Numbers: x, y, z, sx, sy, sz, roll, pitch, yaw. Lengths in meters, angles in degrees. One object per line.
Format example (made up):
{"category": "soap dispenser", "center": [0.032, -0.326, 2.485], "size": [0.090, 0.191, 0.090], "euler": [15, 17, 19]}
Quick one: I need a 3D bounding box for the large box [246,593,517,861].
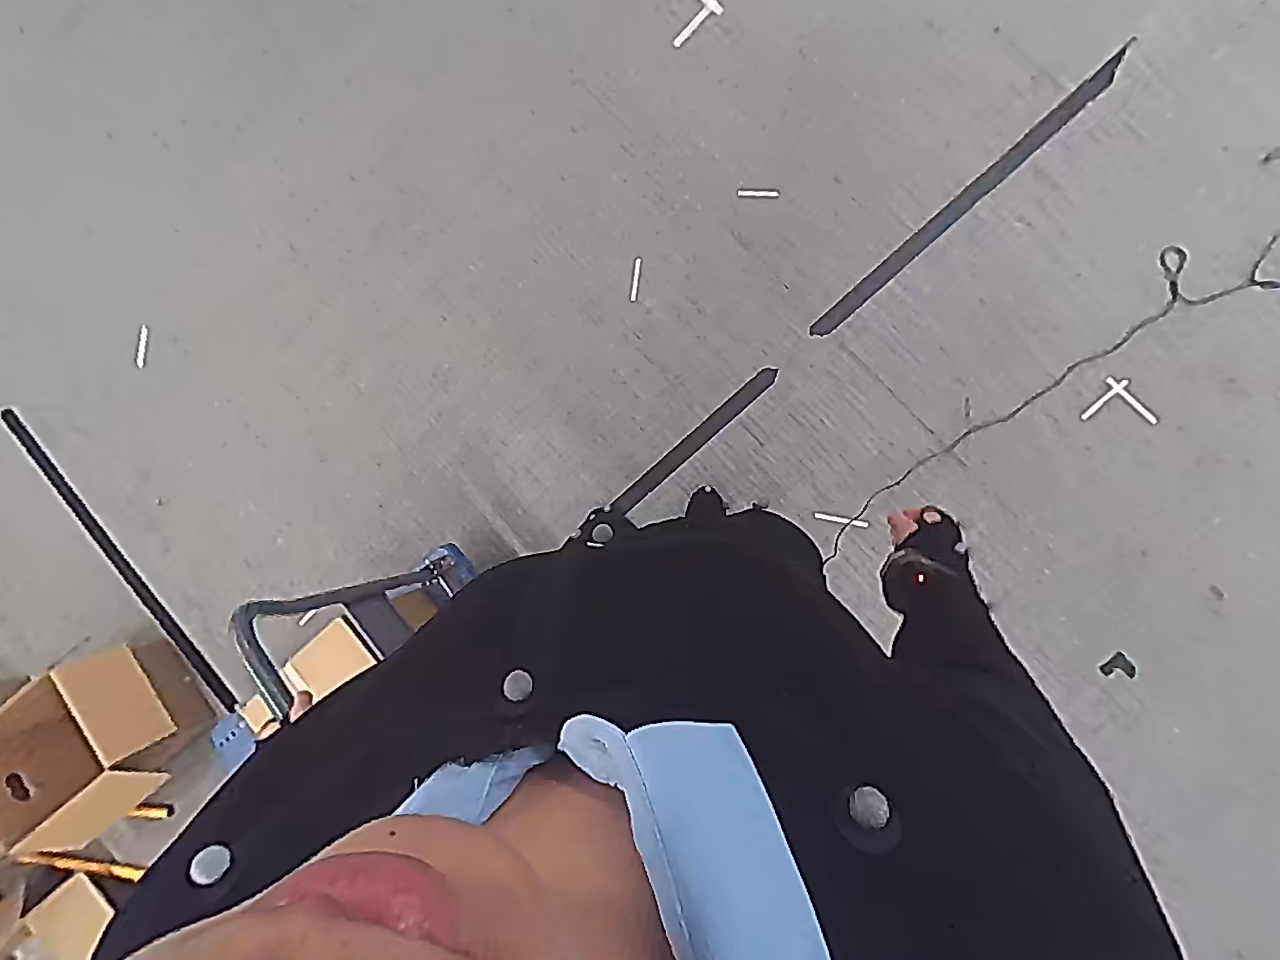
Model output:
{"category": "large box", "center": [-0.563, 0.530, 1.245], "size": [0.320, 0.320, 0.408], "euler": [-42, 84, 4]}
